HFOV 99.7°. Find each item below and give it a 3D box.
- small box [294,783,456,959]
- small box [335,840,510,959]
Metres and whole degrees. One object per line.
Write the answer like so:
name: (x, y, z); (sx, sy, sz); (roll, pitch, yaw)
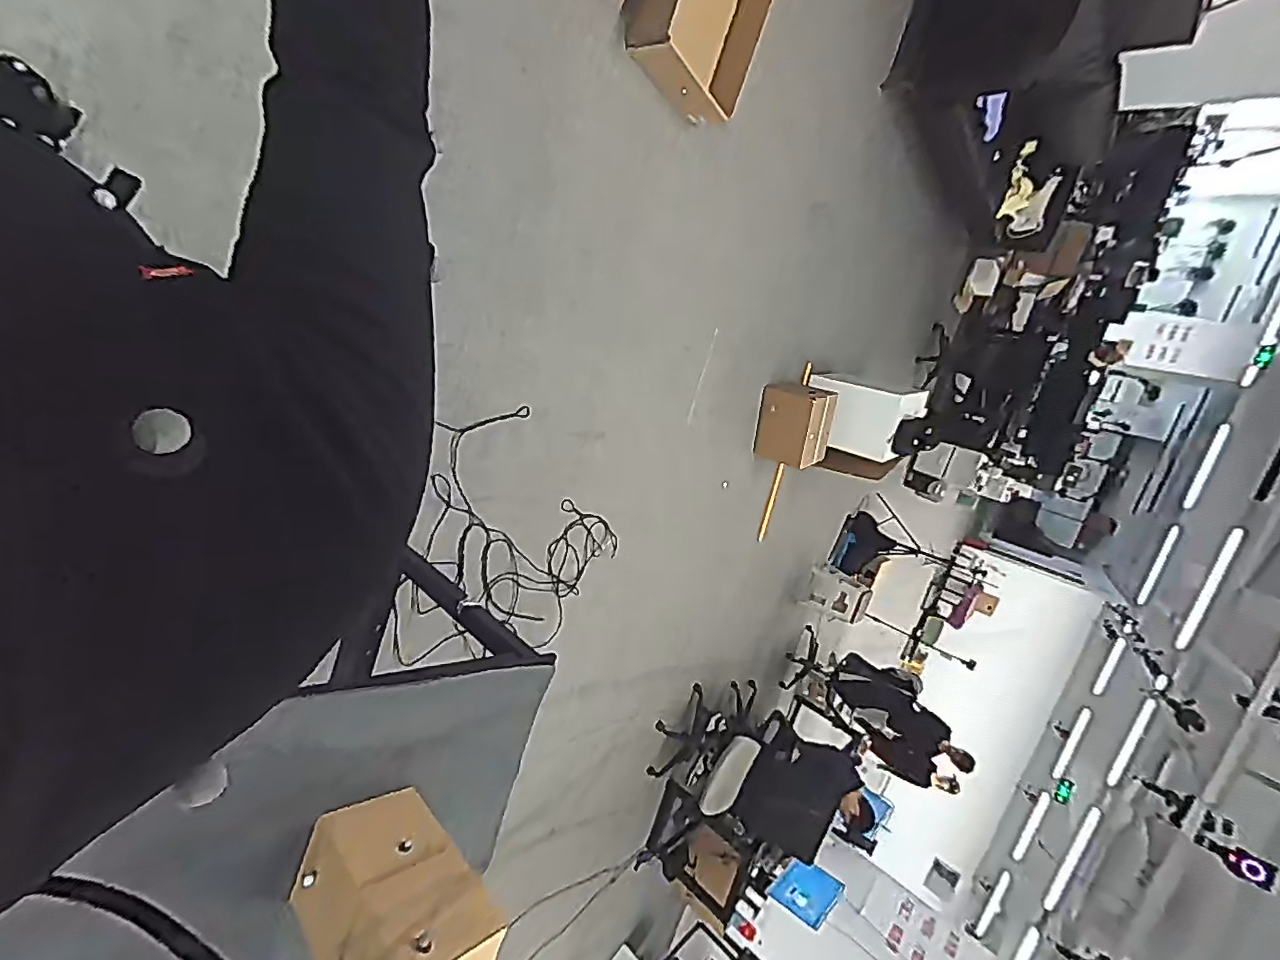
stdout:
small box: (-0.462, 0.668, 0.943); (0.179, 0.176, 0.168); (15, 97, -53)
small box: (-0.341, 0.716, 0.840); (0.179, 0.176, 0.168); (12, 100, -53)
